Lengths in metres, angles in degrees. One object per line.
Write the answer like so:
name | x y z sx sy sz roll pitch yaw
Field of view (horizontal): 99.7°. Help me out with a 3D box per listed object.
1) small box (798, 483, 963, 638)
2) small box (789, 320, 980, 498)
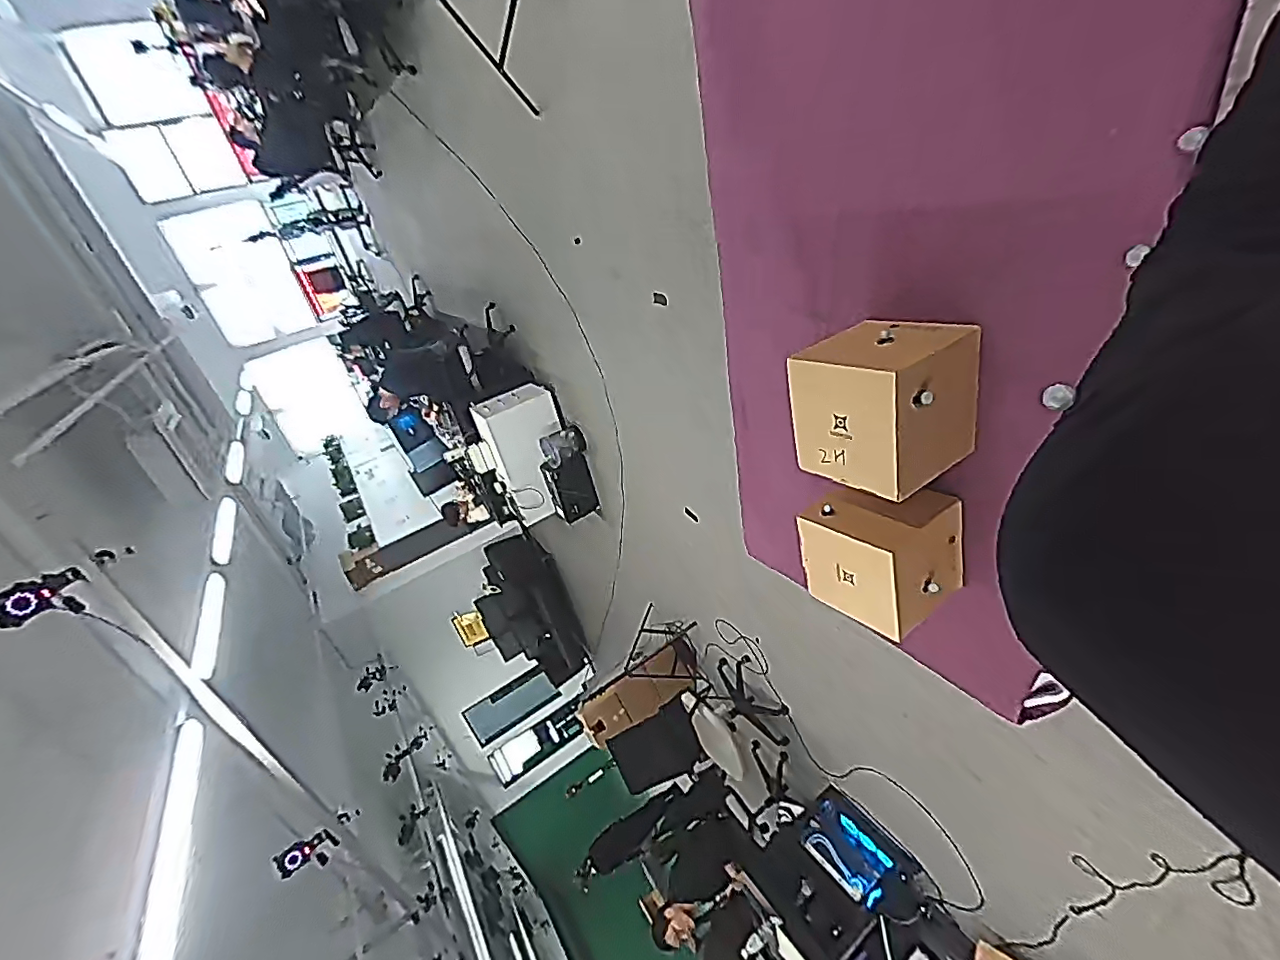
small box | 0.384 0.108 0.856 0.179 0.176 0.168 26 138 56
small box | 0.327 -0.107 0.728 0.168 0.176 0.179 29 140 55
